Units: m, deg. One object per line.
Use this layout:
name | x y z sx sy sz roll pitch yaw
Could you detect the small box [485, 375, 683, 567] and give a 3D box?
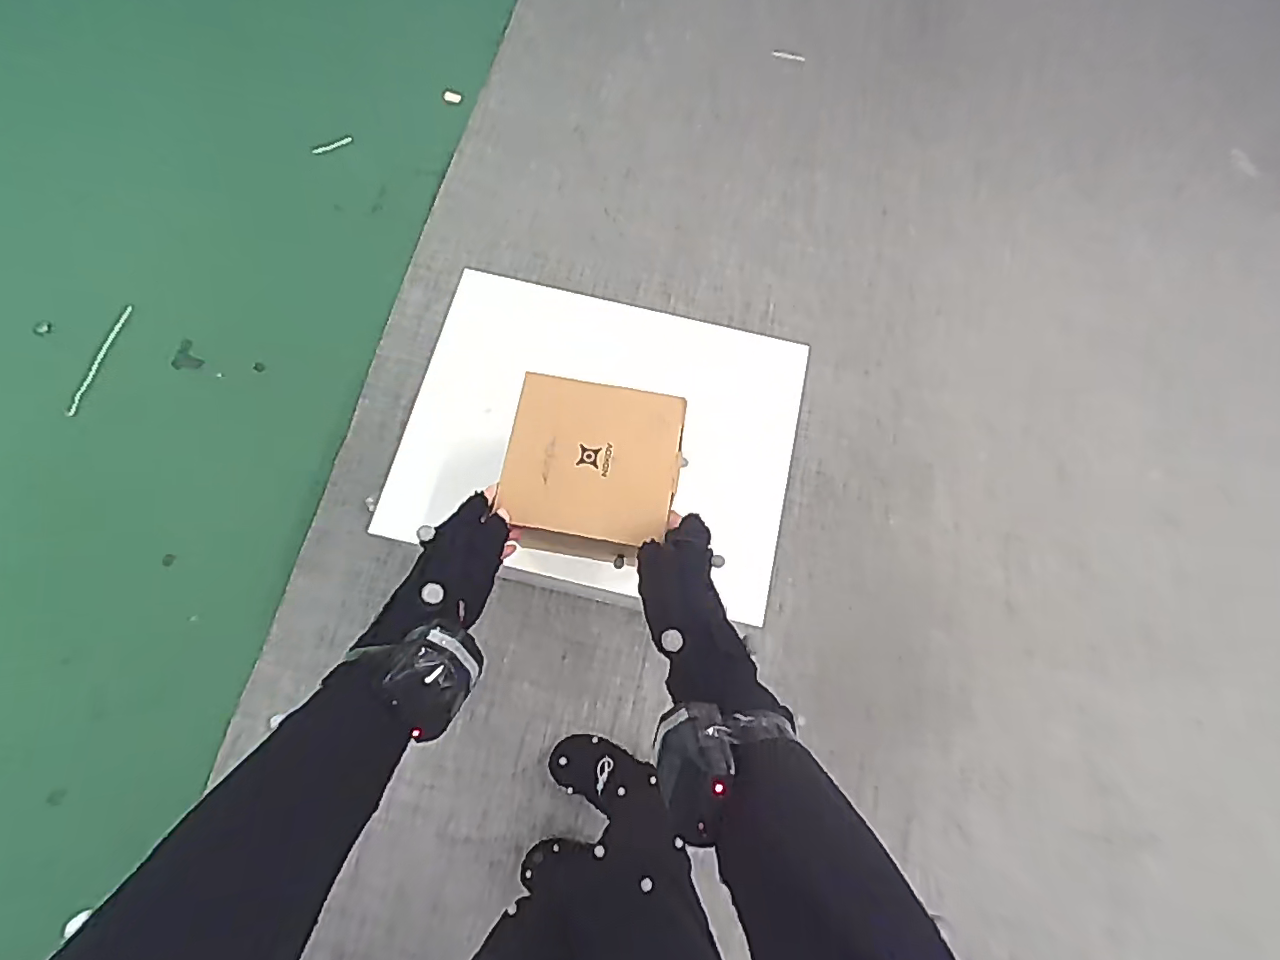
small box | -0.053 0.001 0.619 0.179 0.176 0.168 8 73 2
